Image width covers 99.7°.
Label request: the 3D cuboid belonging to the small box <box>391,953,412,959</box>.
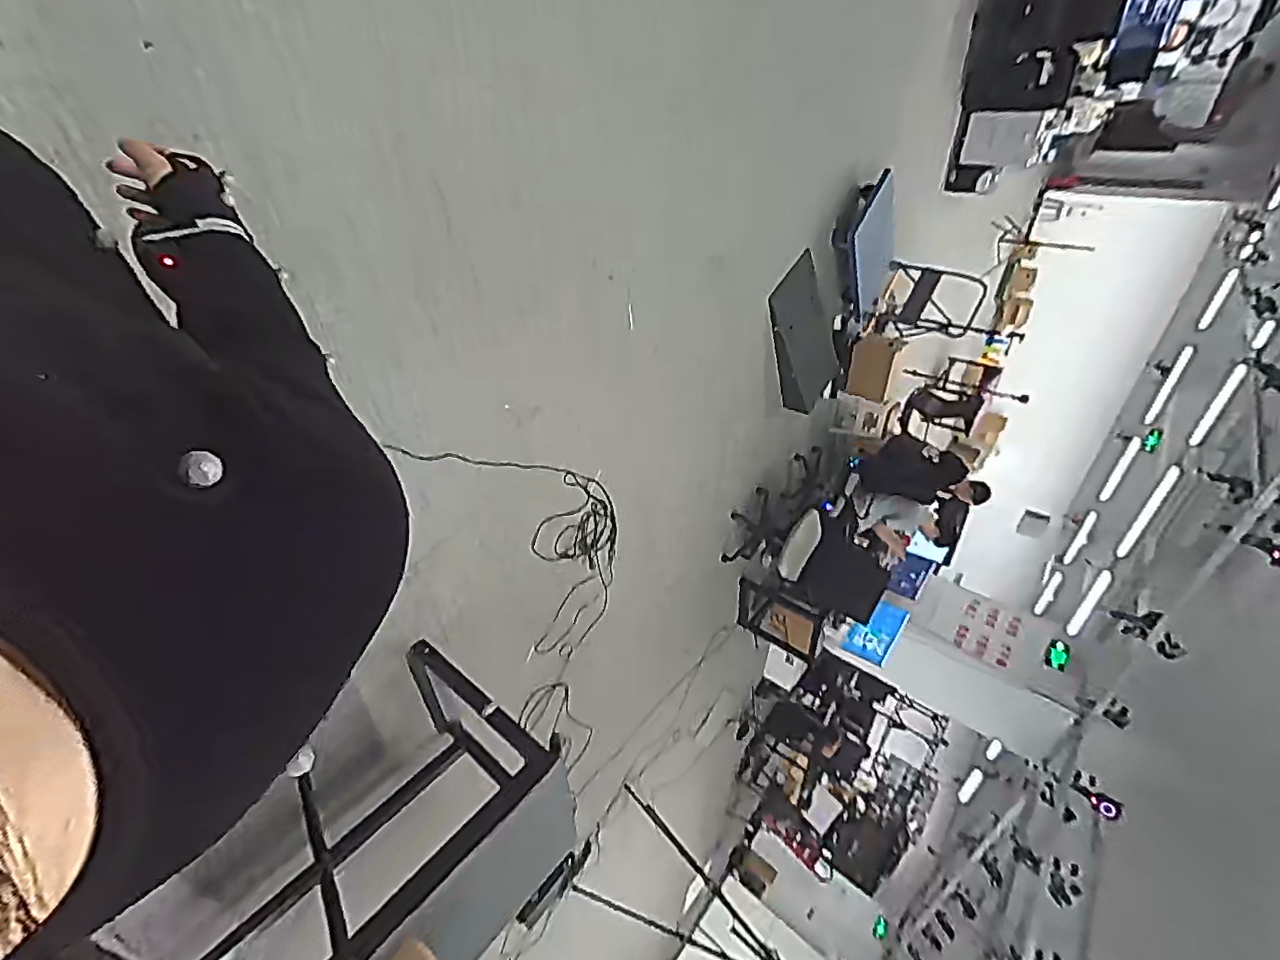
[{"bbox_3d":[-0.578,1.294,1.297,0.168,0.176,0.179,-39,140,-37],"label":"small box"}]
